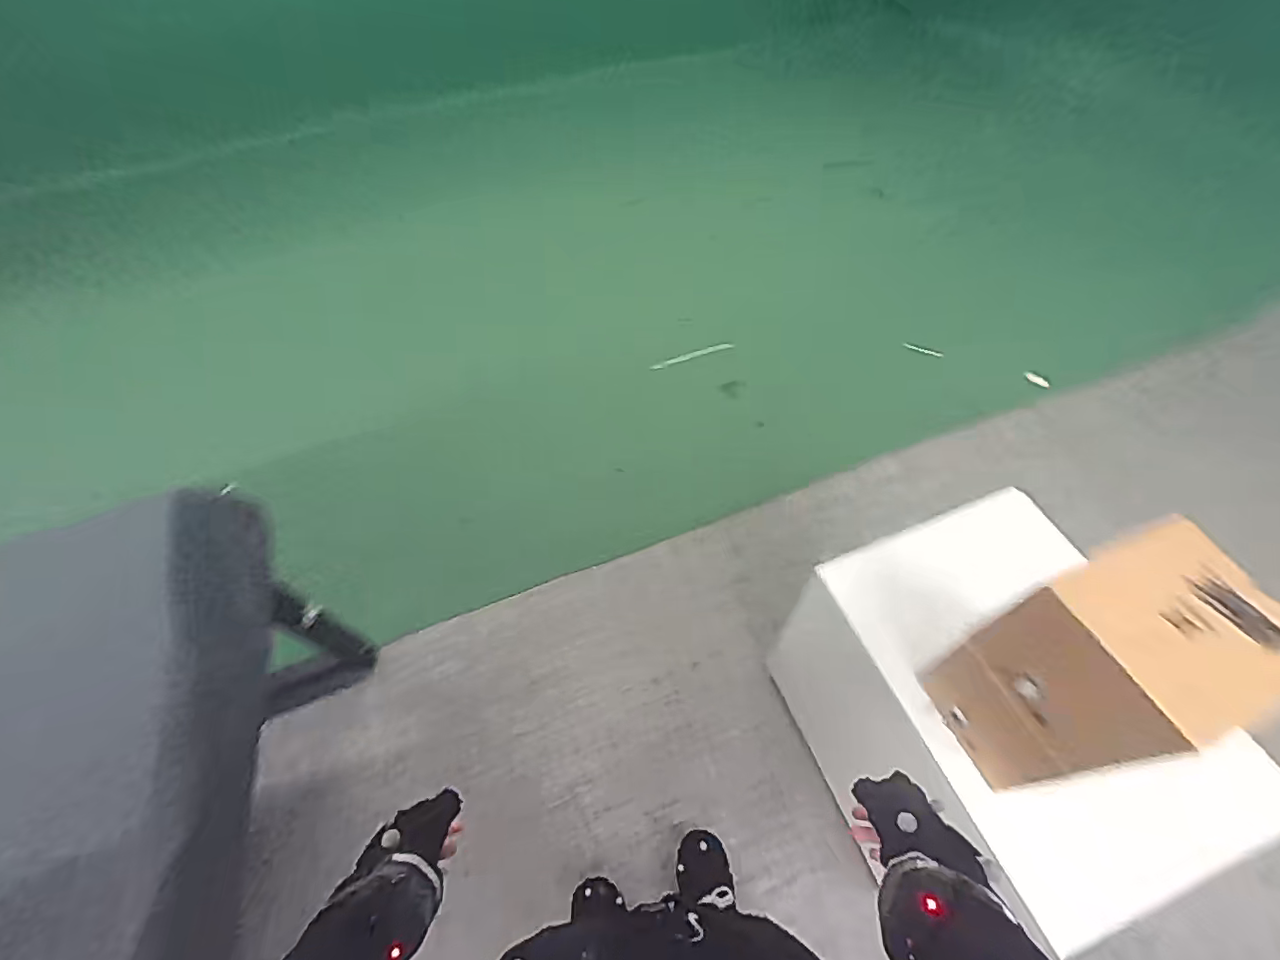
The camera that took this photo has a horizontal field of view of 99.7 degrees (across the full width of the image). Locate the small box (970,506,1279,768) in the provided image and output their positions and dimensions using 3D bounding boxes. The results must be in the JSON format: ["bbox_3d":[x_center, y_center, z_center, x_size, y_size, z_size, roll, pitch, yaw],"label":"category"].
[{"bbox_3d":[0.481,0.160,0.538,0.179,0.176,0.168,-22,58,-12],"label":"small box"}]

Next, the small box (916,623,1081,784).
[{"bbox_3d":[0.487,0.253,0.673,0.179,0.176,0.168,-22,57,-9],"label":"small box"}]
